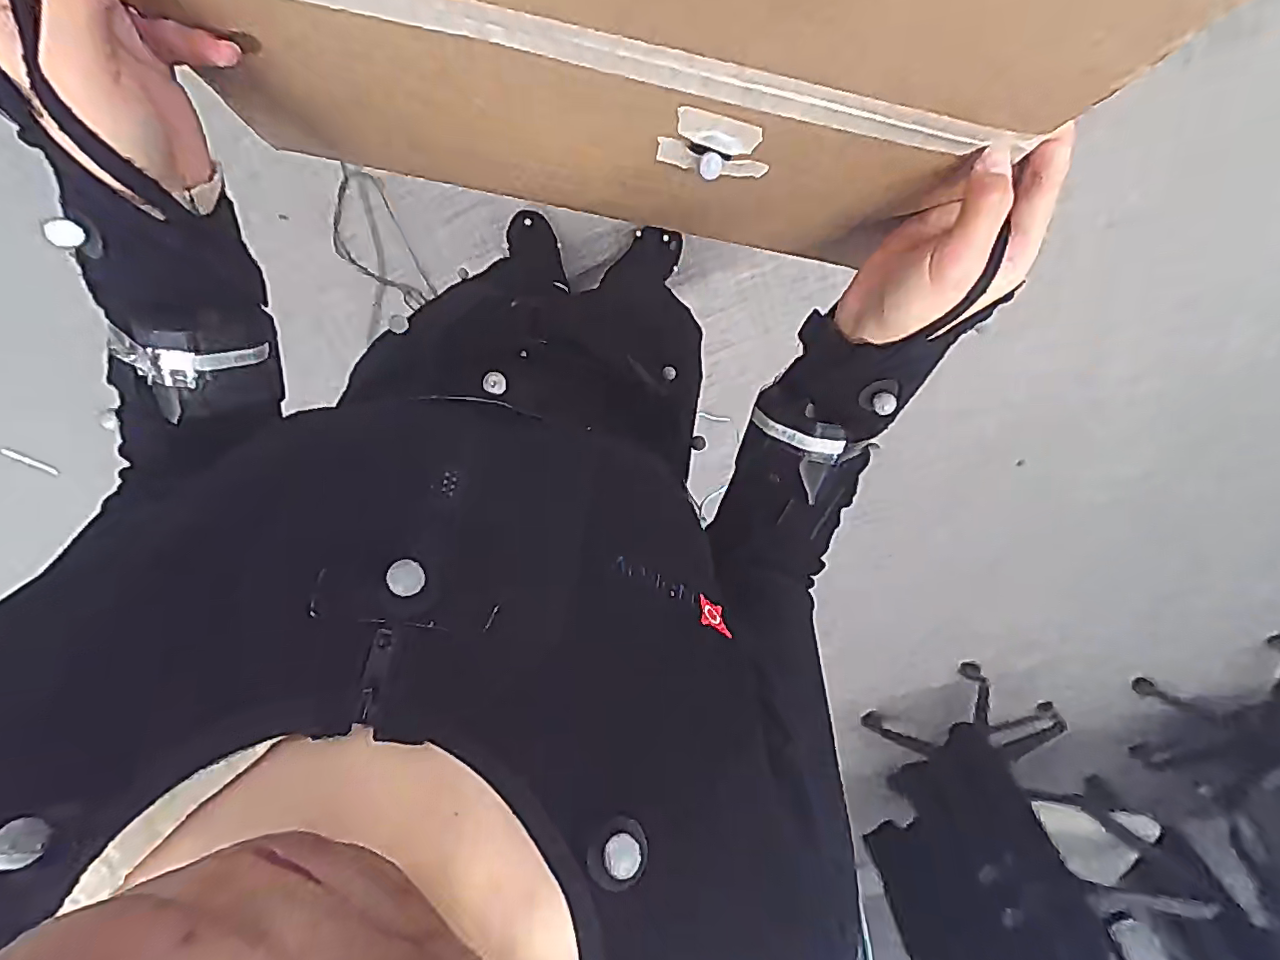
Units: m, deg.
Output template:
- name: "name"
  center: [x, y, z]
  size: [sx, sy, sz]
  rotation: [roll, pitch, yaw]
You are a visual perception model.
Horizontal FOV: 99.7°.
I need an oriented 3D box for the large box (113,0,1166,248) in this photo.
- name: "large box"
  center: [-0.012, -0.335, 0.220]
  size: [0.408, 0.320, 0.320]
  rotation: [7, 92, -6]
